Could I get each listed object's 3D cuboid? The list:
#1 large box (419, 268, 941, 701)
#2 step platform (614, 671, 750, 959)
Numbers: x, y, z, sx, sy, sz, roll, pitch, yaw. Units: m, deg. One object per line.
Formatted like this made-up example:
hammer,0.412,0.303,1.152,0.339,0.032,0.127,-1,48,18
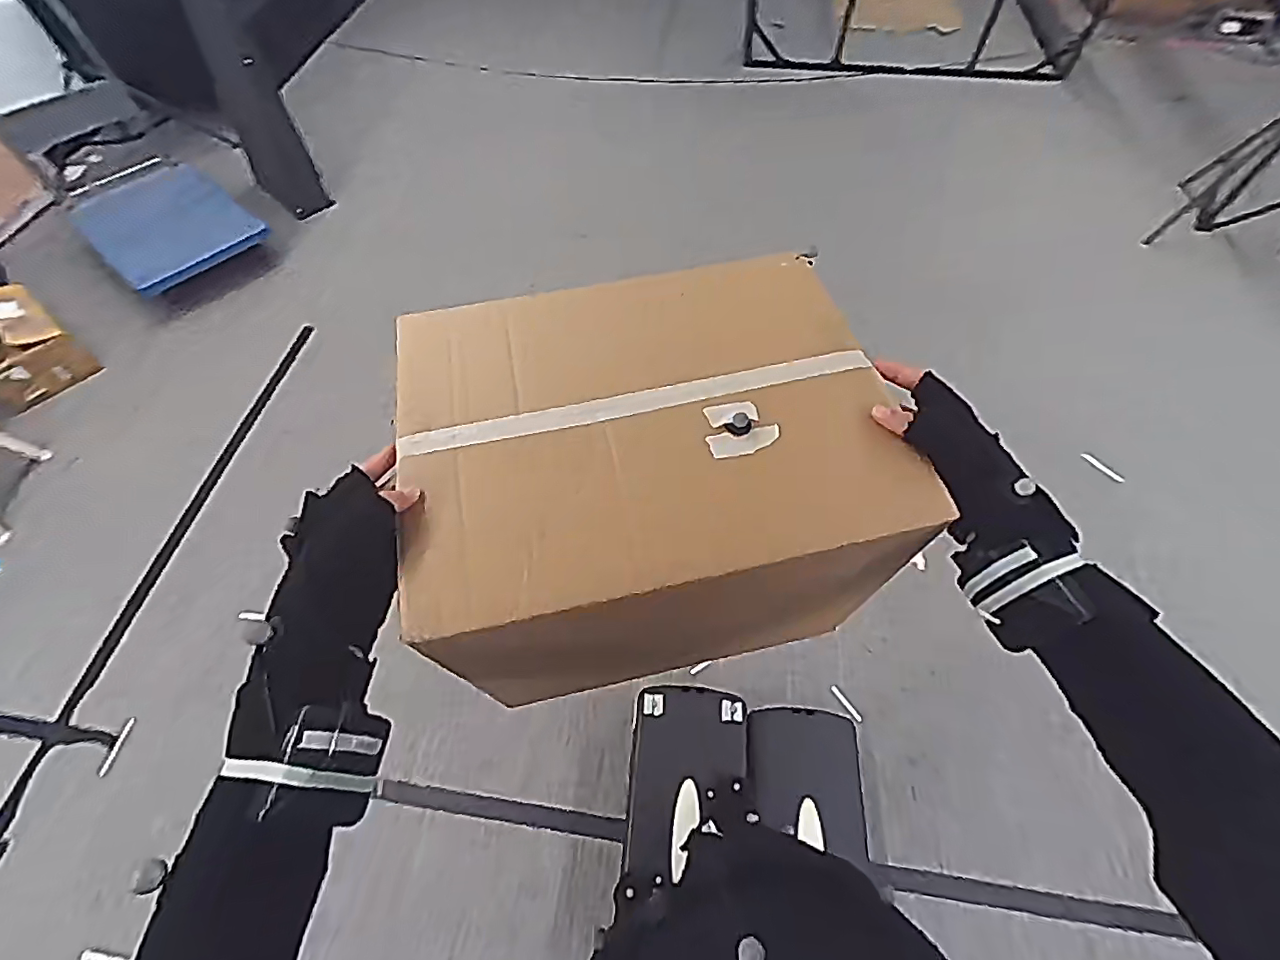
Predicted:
large box,0.010,0.018,0.600,0.408,0.320,0.320,-11,61,-6
step platform,0.108,0.822,1.301,0.286,0.204,0.684,4,58,3
